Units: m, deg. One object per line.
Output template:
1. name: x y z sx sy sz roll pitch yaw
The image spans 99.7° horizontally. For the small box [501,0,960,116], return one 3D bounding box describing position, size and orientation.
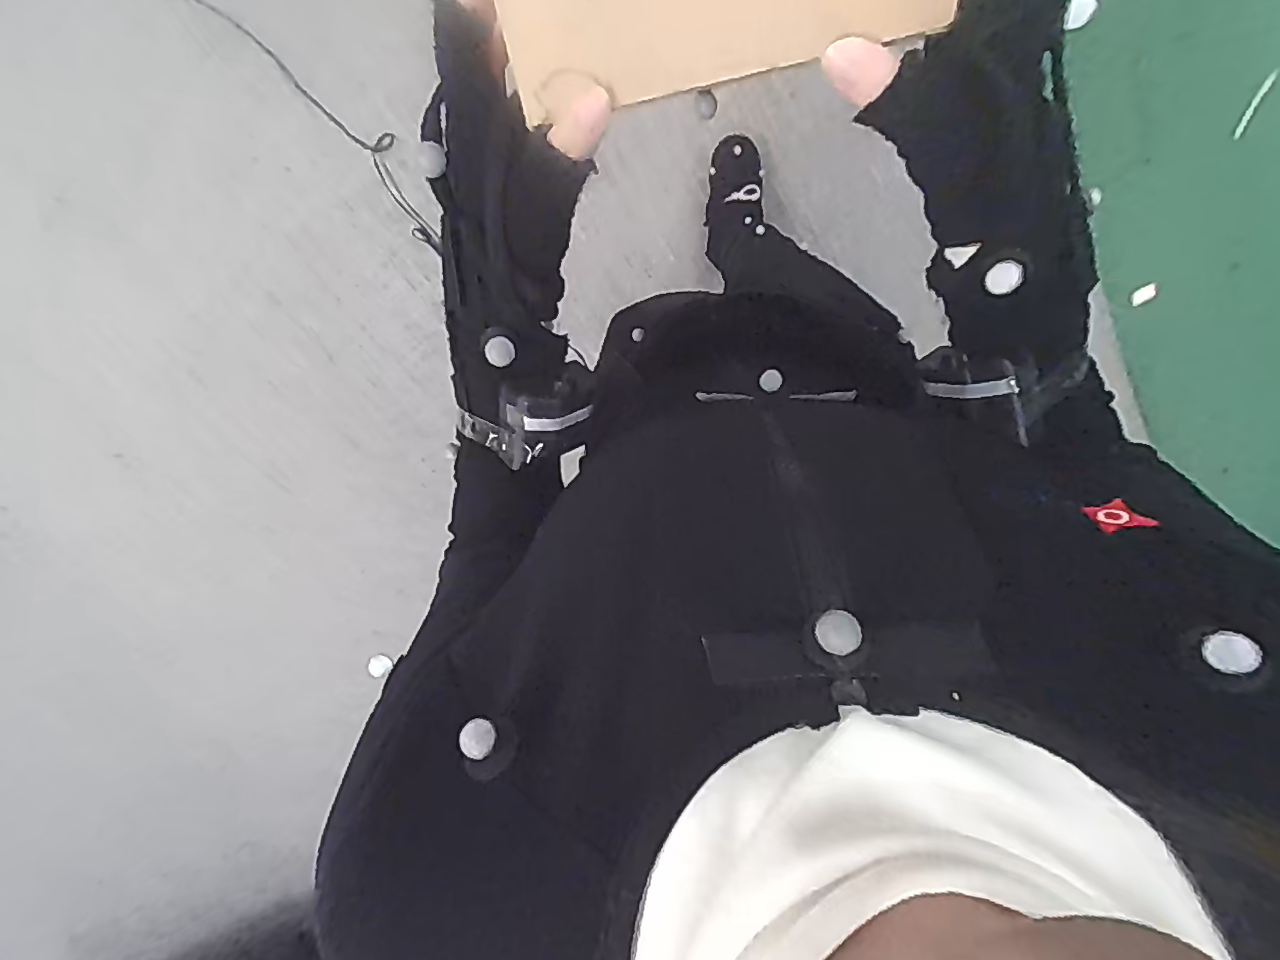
1. small box: 0.026 -0.279 0.234 0.179 0.176 0.168 -7 127 10
